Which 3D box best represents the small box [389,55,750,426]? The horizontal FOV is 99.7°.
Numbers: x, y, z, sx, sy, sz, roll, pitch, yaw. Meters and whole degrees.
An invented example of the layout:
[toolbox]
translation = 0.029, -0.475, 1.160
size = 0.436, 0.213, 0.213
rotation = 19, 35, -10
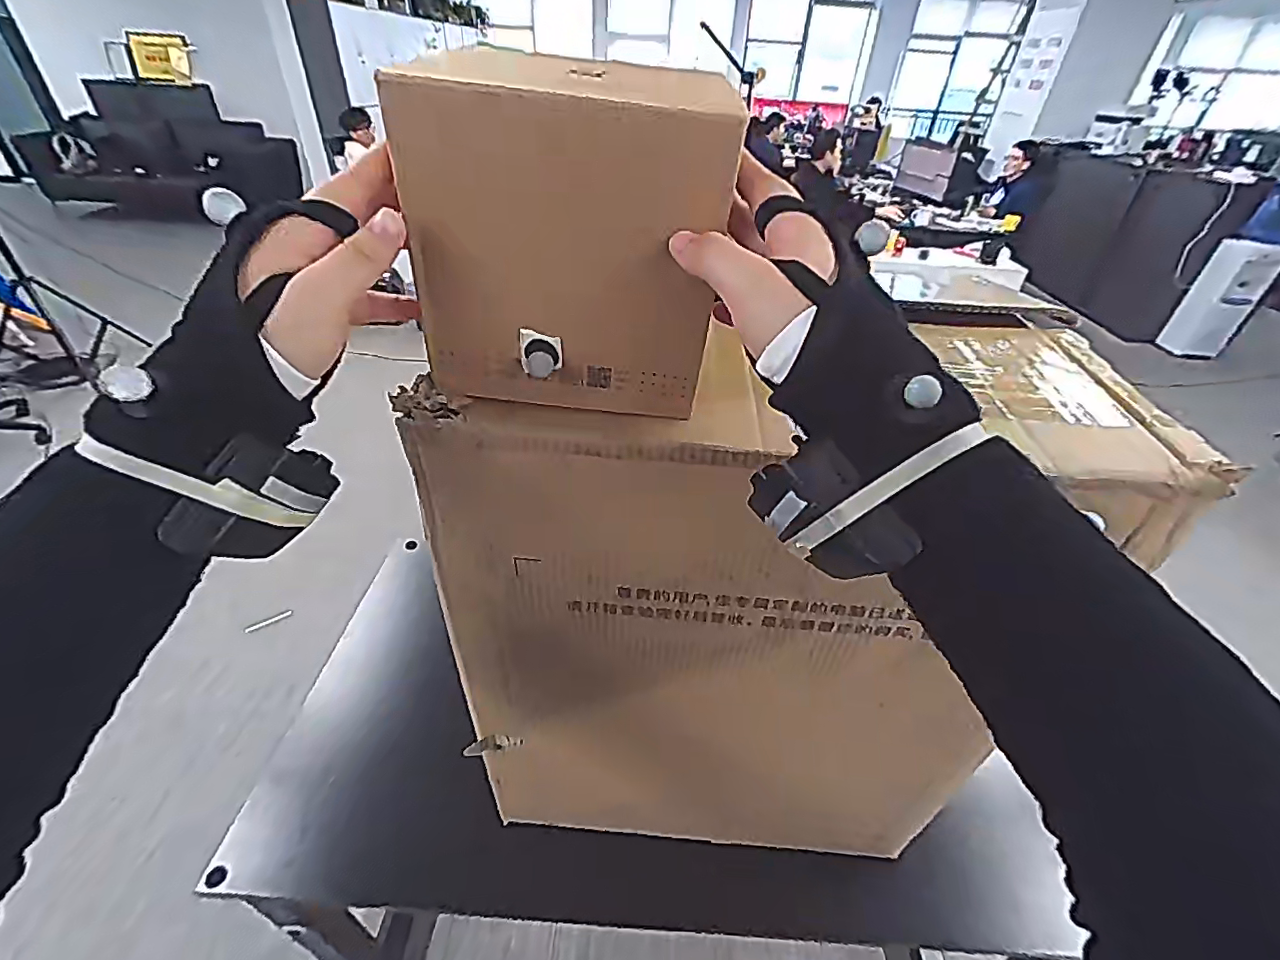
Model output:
[small box]
translation = -0.035, -0.158, 0.354
size = 0.168, 0.176, 0.179
rotation = 4, 42, -2
